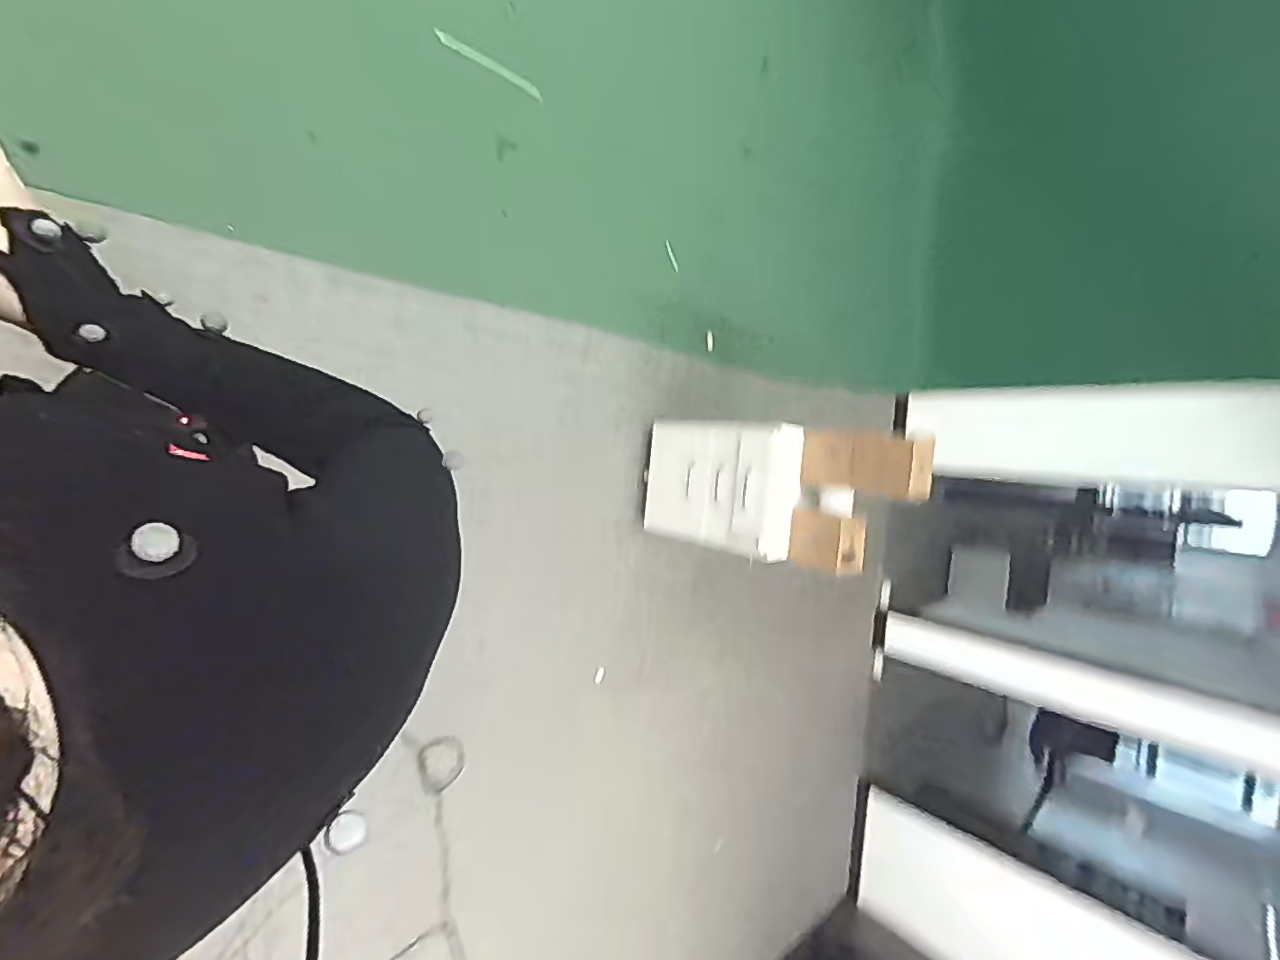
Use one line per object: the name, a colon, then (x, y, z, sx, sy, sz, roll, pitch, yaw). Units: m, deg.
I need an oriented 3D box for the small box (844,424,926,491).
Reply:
small box: (0.715, -0.071, 1.588, 0.168, 0.176, 0.179, -6, 101, -43)

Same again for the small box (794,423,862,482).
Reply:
small box: (0.603, -0.090, 1.705, 0.168, 0.176, 0.179, -3, 99, -42)
